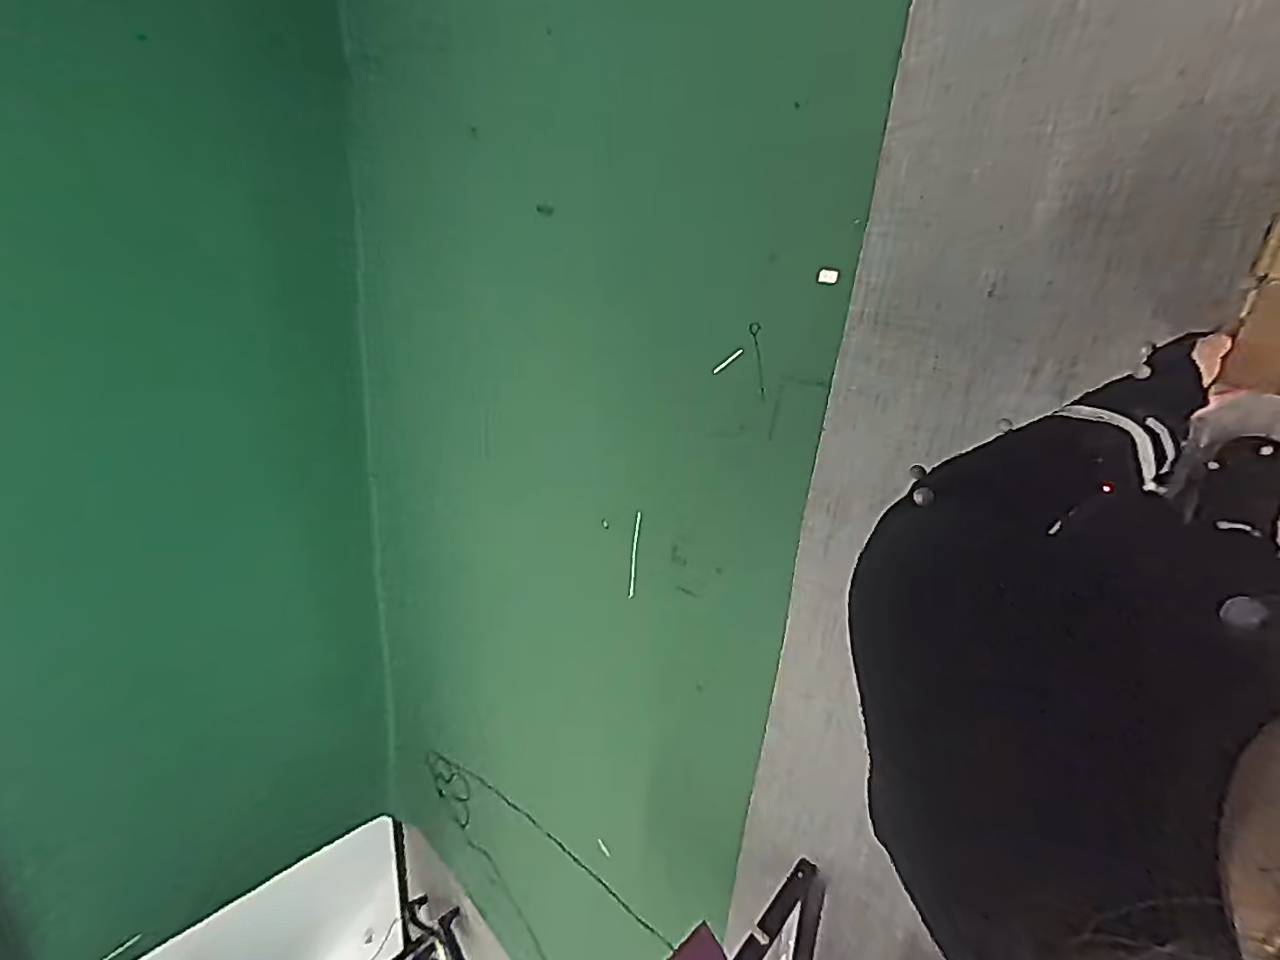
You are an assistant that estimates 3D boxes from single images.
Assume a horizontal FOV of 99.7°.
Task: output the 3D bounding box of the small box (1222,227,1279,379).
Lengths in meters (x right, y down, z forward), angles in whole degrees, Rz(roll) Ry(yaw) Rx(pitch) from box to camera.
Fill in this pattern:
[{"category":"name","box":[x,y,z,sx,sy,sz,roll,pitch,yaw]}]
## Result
[{"category":"small box","box":[0.617,-0.177,0.427,0.168,0.176,0.179,28,89,40]}]
